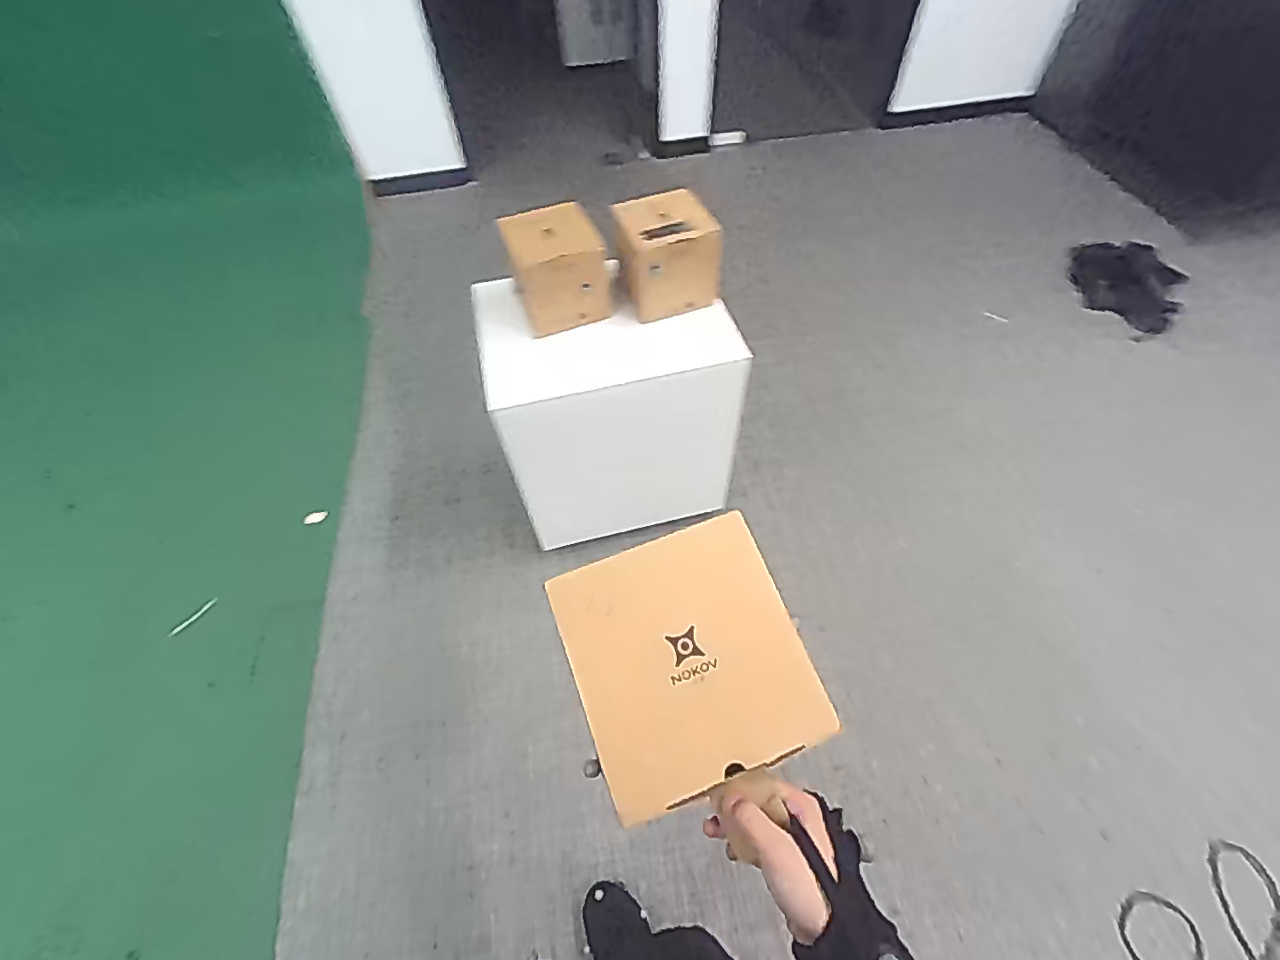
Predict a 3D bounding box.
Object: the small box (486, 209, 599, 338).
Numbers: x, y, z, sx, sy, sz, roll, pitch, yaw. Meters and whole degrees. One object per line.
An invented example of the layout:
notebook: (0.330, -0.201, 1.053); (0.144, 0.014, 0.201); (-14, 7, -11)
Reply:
small box: (-0.189, -0.406, 1.086); (0.168, 0.176, 0.179); (-20, 56, -14)

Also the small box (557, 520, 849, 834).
small box: (0.036, 0.160, 0.461); (0.168, 0.176, 0.179); (-18, 69, -9)
